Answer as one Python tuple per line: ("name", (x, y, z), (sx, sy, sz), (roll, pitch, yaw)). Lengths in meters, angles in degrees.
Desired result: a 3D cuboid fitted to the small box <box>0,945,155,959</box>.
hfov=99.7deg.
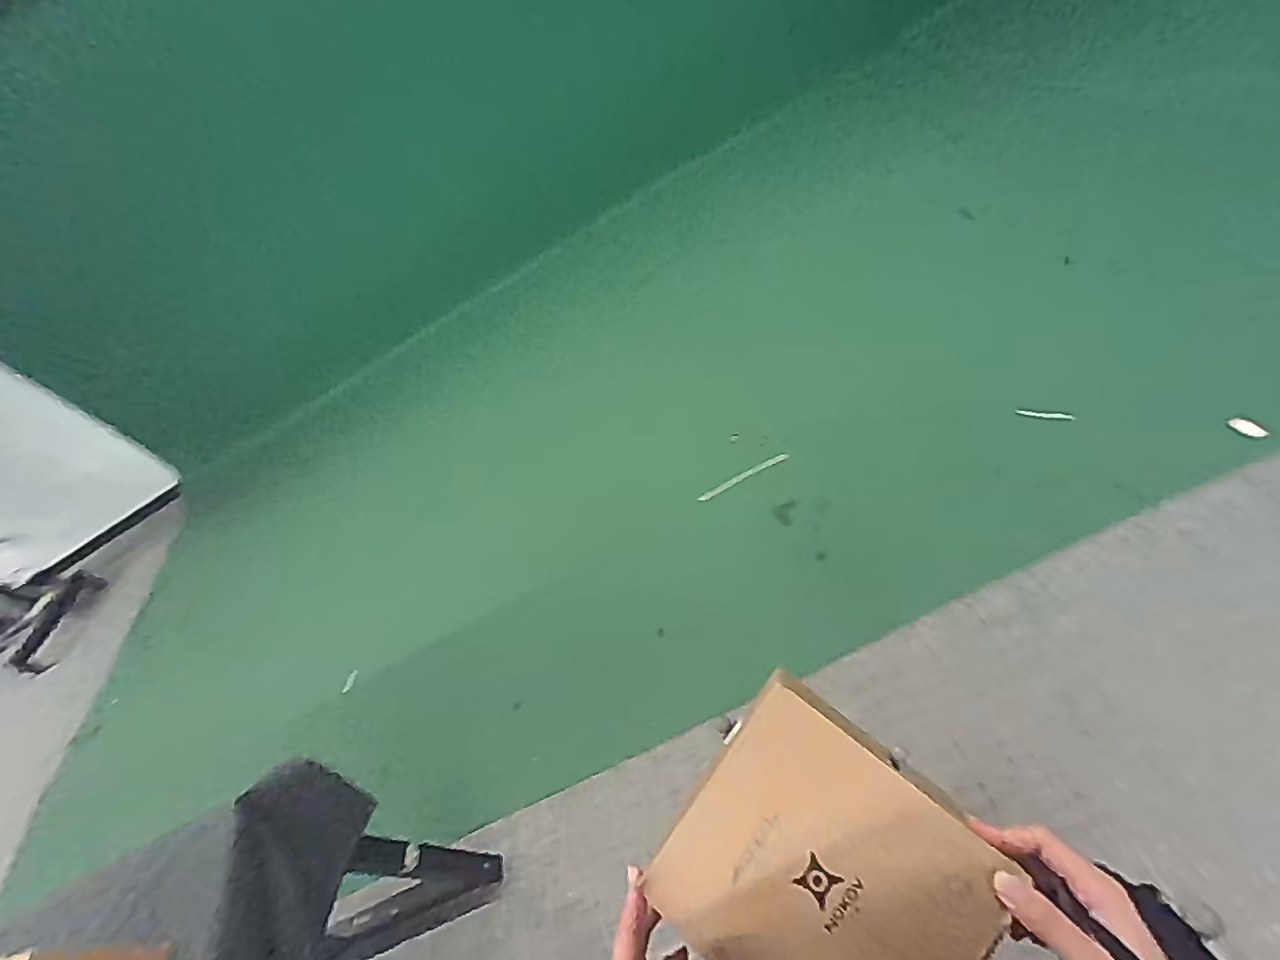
("small box", (-0.766, 0.705, 0.668), (0.168, 0.176, 0.179), (-24, 45, 13))
